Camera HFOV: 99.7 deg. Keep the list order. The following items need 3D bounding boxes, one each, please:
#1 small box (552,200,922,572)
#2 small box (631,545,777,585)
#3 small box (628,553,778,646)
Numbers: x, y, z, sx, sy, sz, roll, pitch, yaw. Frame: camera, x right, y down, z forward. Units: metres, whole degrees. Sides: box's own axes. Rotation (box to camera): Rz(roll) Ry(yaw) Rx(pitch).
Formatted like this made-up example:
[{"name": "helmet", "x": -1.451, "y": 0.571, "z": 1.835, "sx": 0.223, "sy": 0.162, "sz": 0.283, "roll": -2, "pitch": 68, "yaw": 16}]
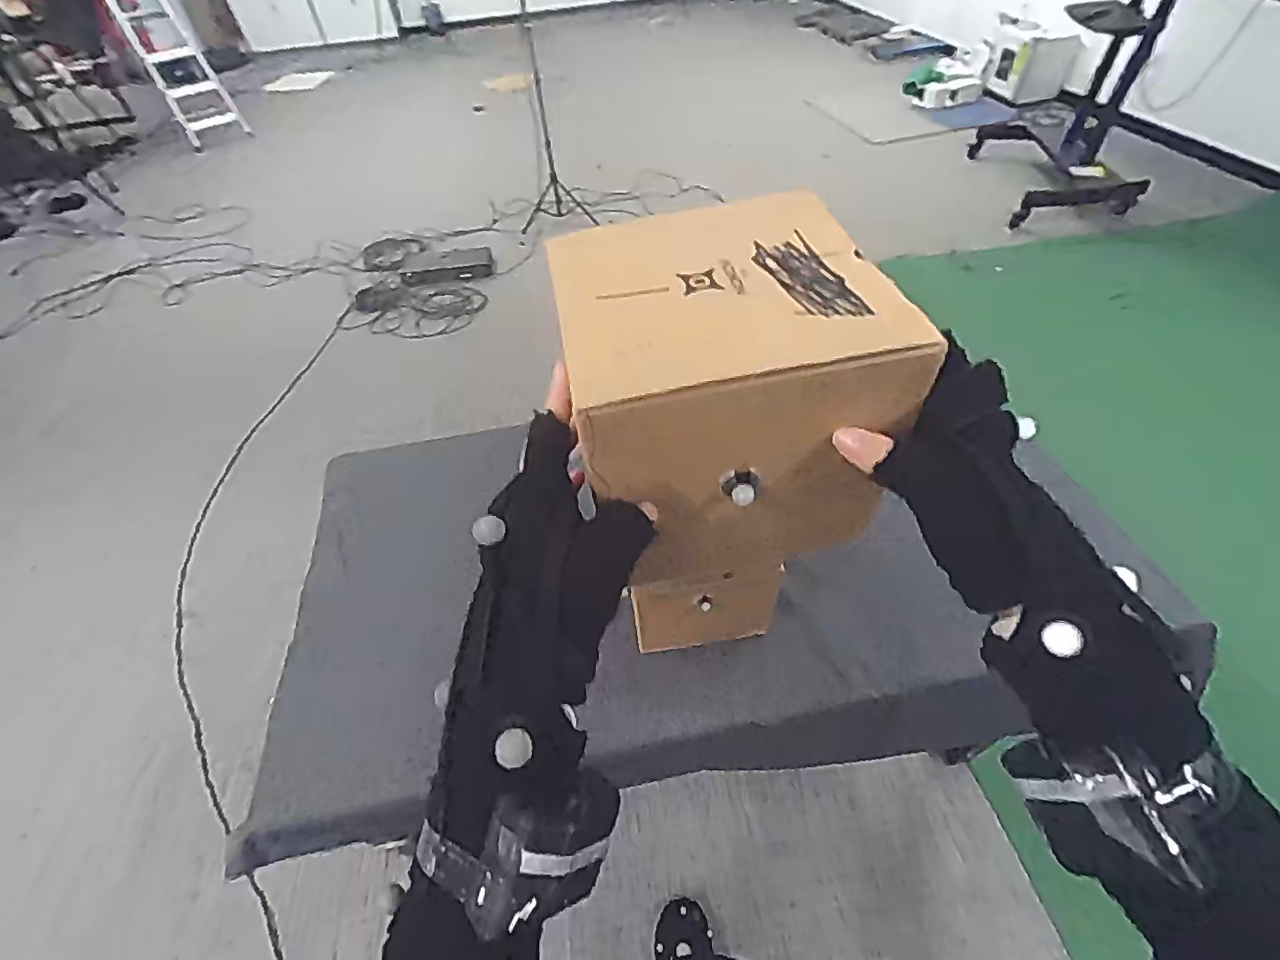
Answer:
[{"name": "small box", "x": 0.046, "y": -0.059, "z": 0.370, "sx": 0.179, "sy": 0.176, "sz": 0.168, "roll": -11, "pitch": 50, "yaw": -3}, {"name": "small box", "x": 0.058, "y": 0.004, "z": 0.606, "sx": 0.168, "sy": 0.176, "sz": 0.179, "roll": -8, "pitch": 50, "yaw": -3}, {"name": "small box", "x": 0.070, "y": 0.108, "z": 0.732, "sx": 0.179, "sy": 0.176, "sz": 0.168, "roll": -8, "pitch": 50, "yaw": -4}]
